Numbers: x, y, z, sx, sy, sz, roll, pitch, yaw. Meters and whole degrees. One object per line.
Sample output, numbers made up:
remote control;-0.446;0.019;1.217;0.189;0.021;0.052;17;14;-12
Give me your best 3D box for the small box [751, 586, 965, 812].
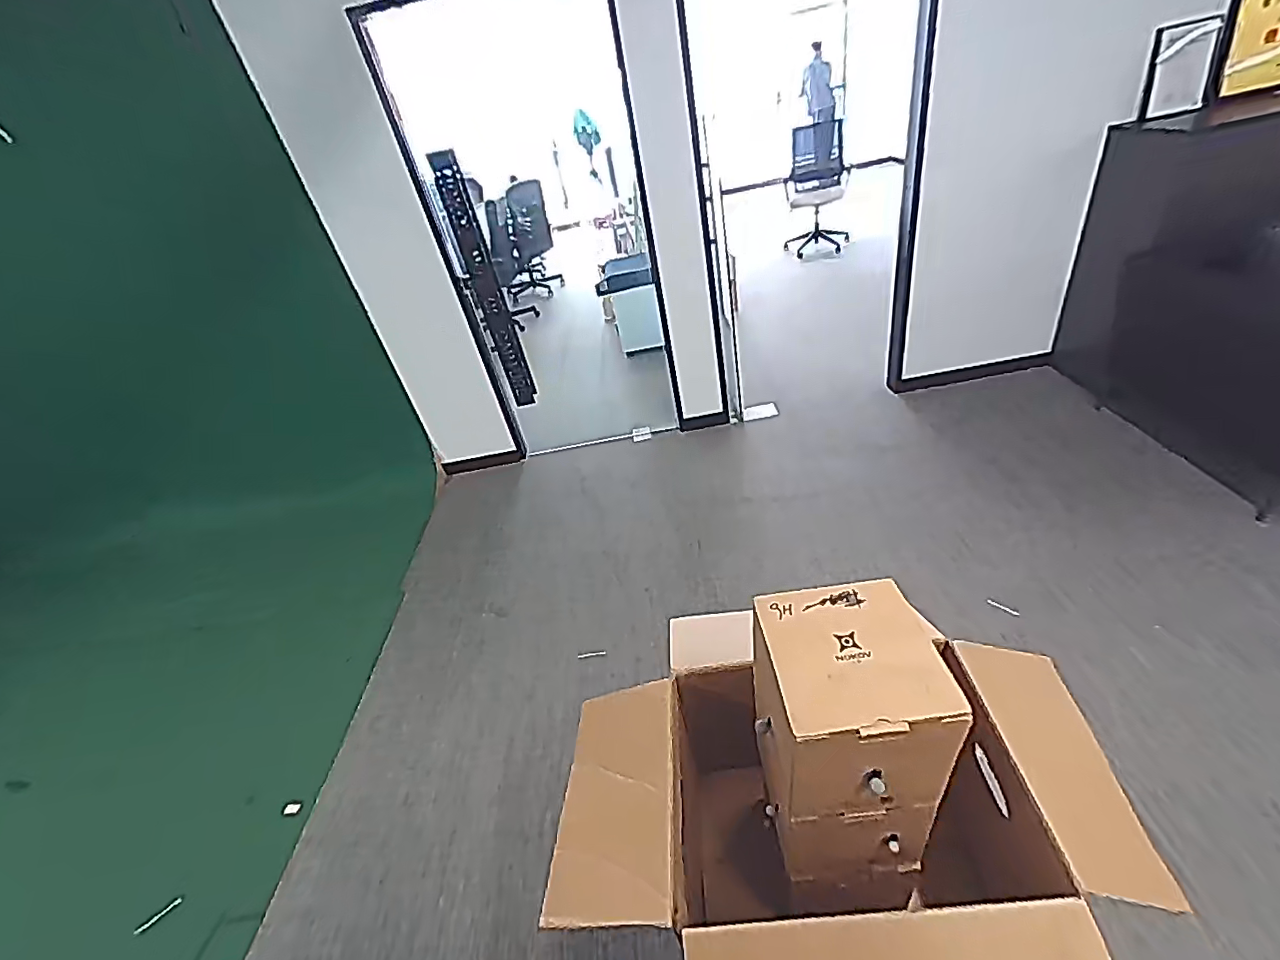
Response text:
small box;0.225;0.248;0.609;0.168;0.176;0.179;-7;36;2
